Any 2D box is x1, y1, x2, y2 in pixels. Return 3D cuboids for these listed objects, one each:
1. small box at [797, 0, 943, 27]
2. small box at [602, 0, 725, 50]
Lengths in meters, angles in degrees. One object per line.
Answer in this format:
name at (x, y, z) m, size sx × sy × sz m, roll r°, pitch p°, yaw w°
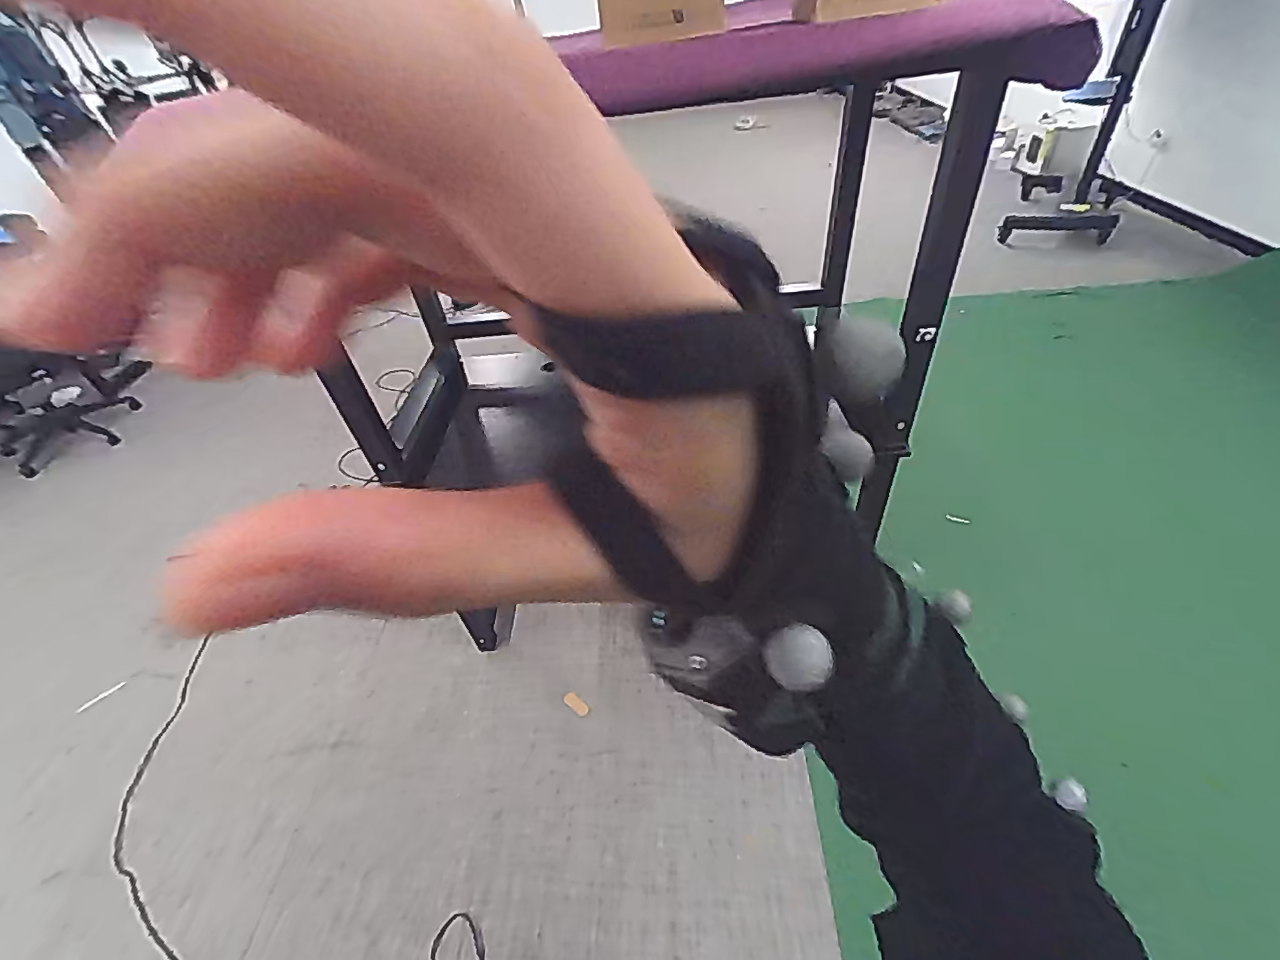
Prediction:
small box at (0.310, -0.722, 0.718) m, size 0.168 × 0.176 × 0.179 m, roll -4°, pitch 42°, yaw 5°
small box at (0.029, -0.708, 0.745) m, size 0.168 × 0.176 × 0.179 m, roll -3°, pitch 40°, yaw 4°
